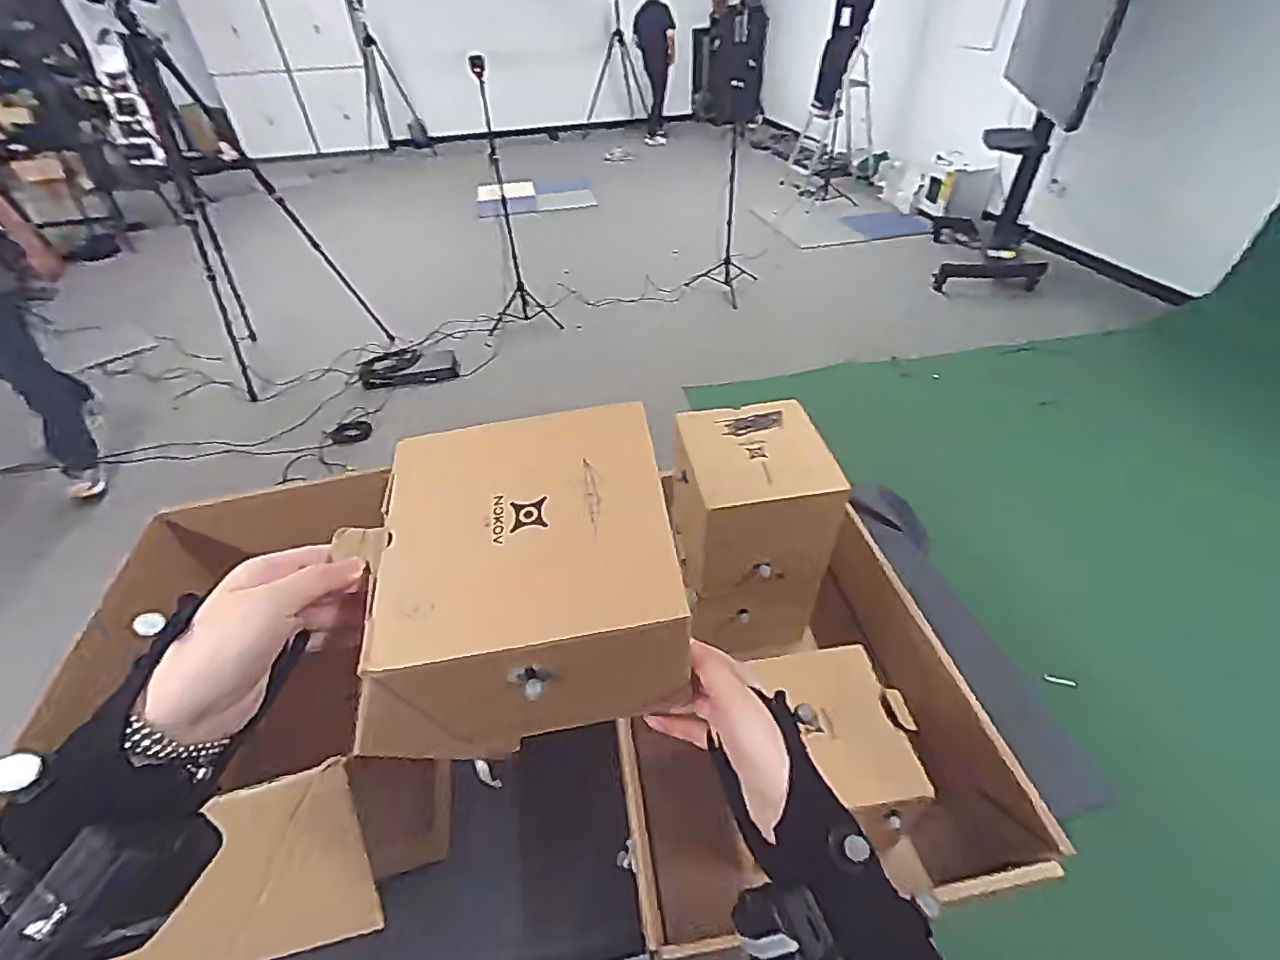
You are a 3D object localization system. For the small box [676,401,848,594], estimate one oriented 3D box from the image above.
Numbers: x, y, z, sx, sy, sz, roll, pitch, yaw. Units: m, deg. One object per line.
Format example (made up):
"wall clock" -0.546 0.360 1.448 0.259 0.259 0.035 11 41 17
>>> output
"small box" 0.140 0.021 0.702 0.168 0.176 0.179 -8 44 -4

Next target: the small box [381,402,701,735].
"small box" -0.055 0.071 0.395 0.179 0.176 0.168 -10 53 -2
